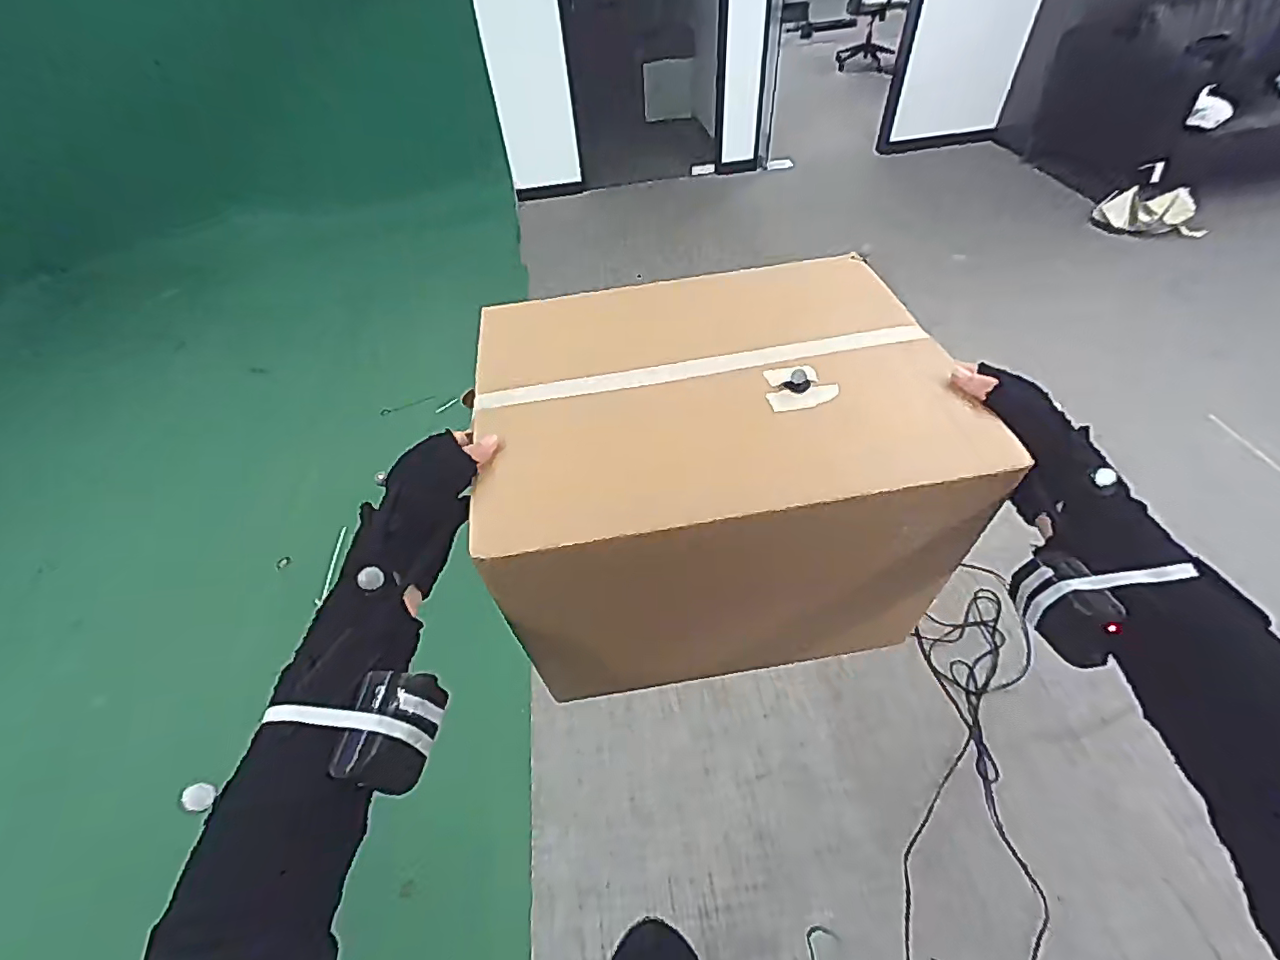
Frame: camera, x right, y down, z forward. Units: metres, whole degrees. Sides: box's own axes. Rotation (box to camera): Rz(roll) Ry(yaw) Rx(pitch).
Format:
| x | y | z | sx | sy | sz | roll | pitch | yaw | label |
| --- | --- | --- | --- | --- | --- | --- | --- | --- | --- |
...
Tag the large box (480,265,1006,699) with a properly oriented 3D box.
| x | y | z | sx | sy | sz | roll | pitch | yaw | label |
| --- | --- | --- | --- | --- | --- | --- | --- | --- | --- |
| 0.065 | 0.006 | 0.598 | 0.408 | 0.320 | 0.320 | -9 | 51 | -3 | large box |
